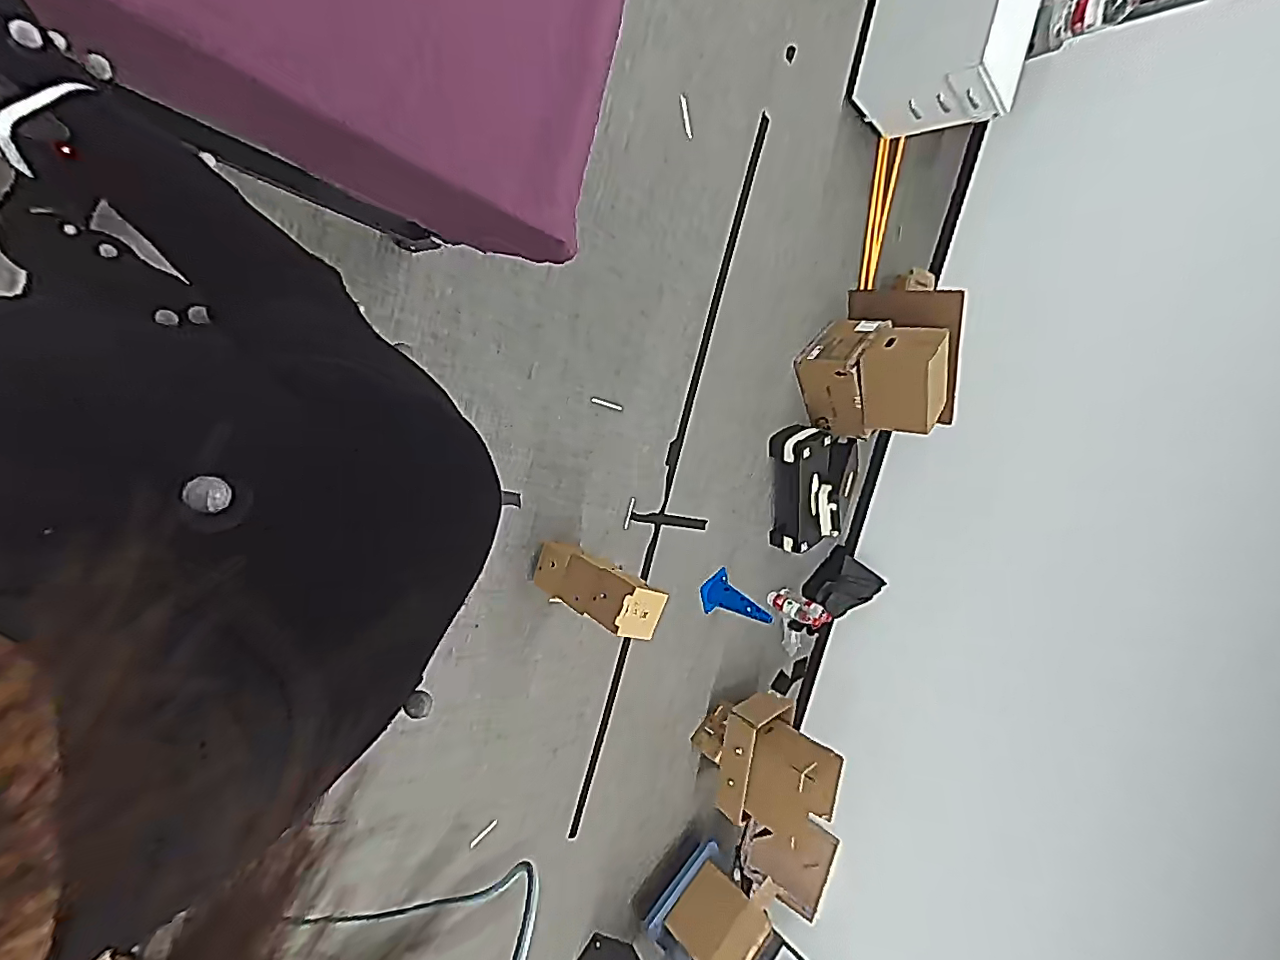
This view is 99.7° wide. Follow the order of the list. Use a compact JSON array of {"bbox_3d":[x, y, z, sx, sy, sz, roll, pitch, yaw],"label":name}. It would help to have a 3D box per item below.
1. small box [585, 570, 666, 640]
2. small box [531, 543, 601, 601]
[{"bbox_3d":[-0.050,0.415,1.807,0.179,0.176,0.168,25,87,-45],"label":"small box"},{"bbox_3d":[-0.281,0.344,2.032,0.179,0.176,0.168,16,93,-45],"label":"small box"}]
